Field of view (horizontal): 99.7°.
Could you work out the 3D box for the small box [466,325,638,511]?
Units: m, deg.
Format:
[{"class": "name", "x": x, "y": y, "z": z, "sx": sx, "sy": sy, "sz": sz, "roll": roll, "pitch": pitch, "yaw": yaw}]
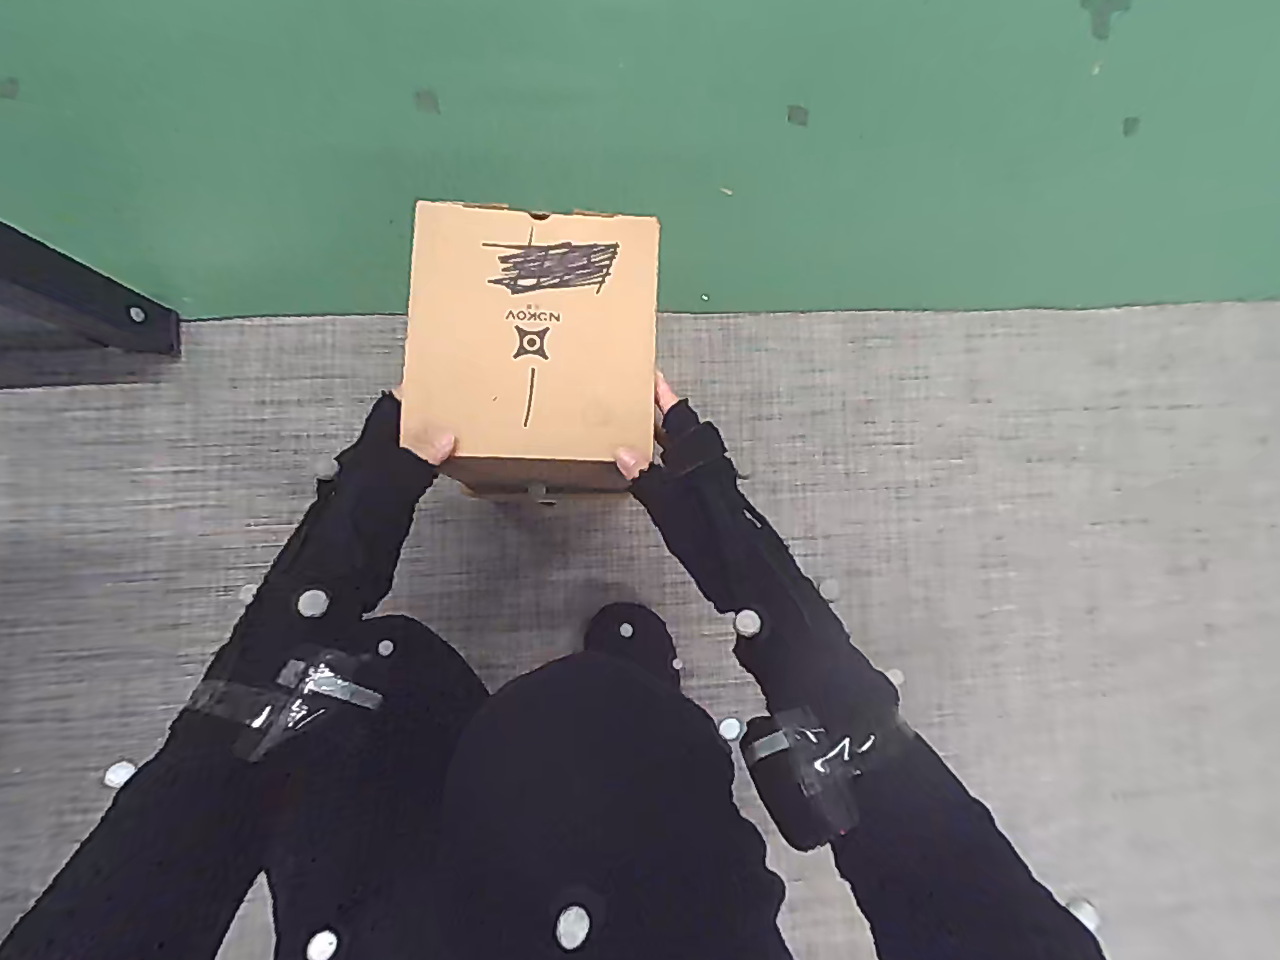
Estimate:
[{"class": "small box", "x": -0.091, "y": -0.057, "z": 0.607, "sx": 0.168, "sy": 0.176, "sz": 0.179, "roll": 0, "pitch": 85, "yaw": -4}]
